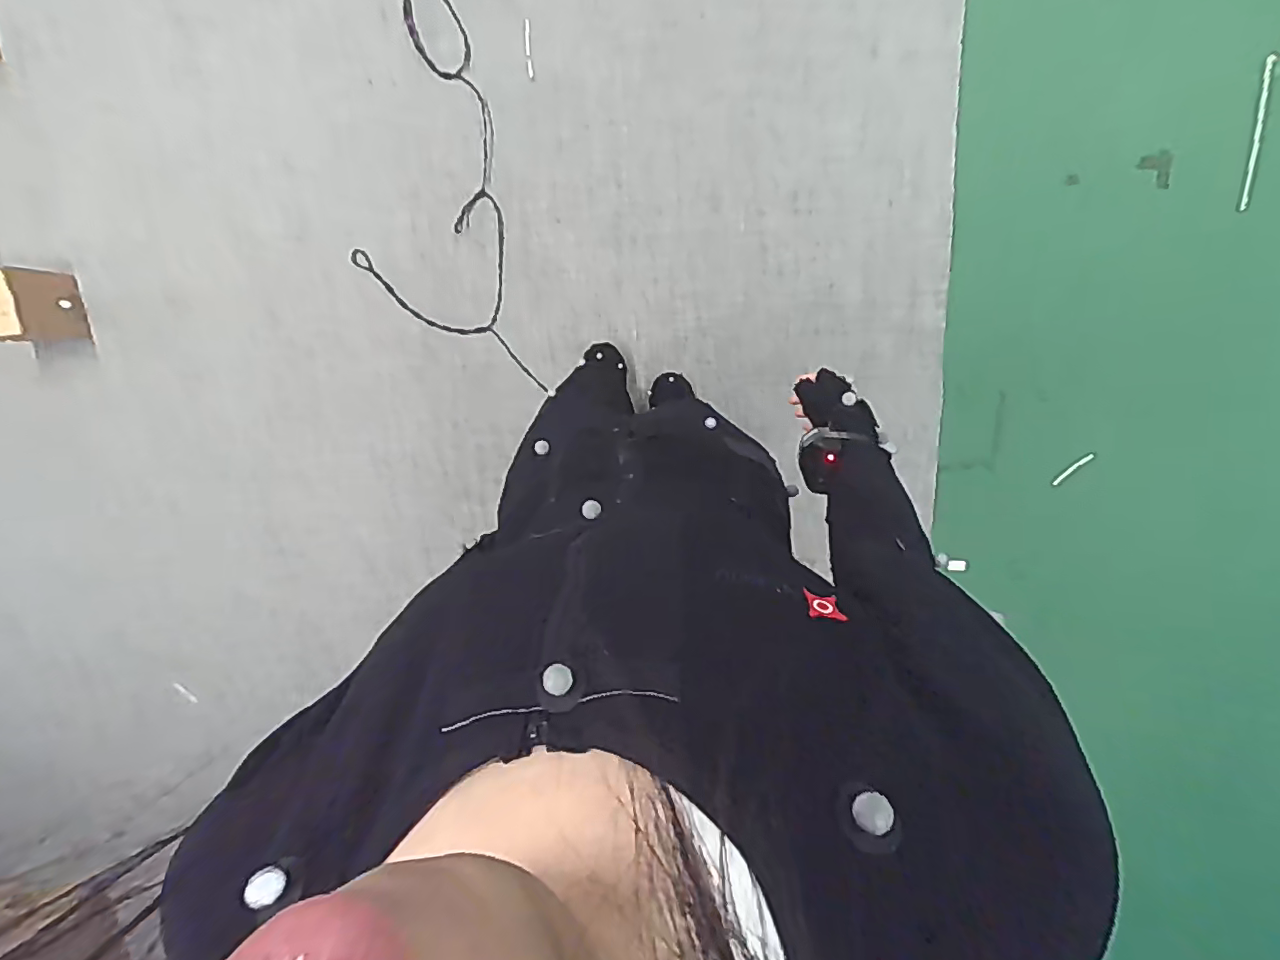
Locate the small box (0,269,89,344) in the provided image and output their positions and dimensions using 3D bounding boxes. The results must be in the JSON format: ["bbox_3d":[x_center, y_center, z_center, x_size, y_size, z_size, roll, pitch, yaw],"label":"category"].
[{"bbox_3d":[-1.616,-0.446,1.406,0.179,0.176,0.168,-4,103,5],"label":"small box"}]
